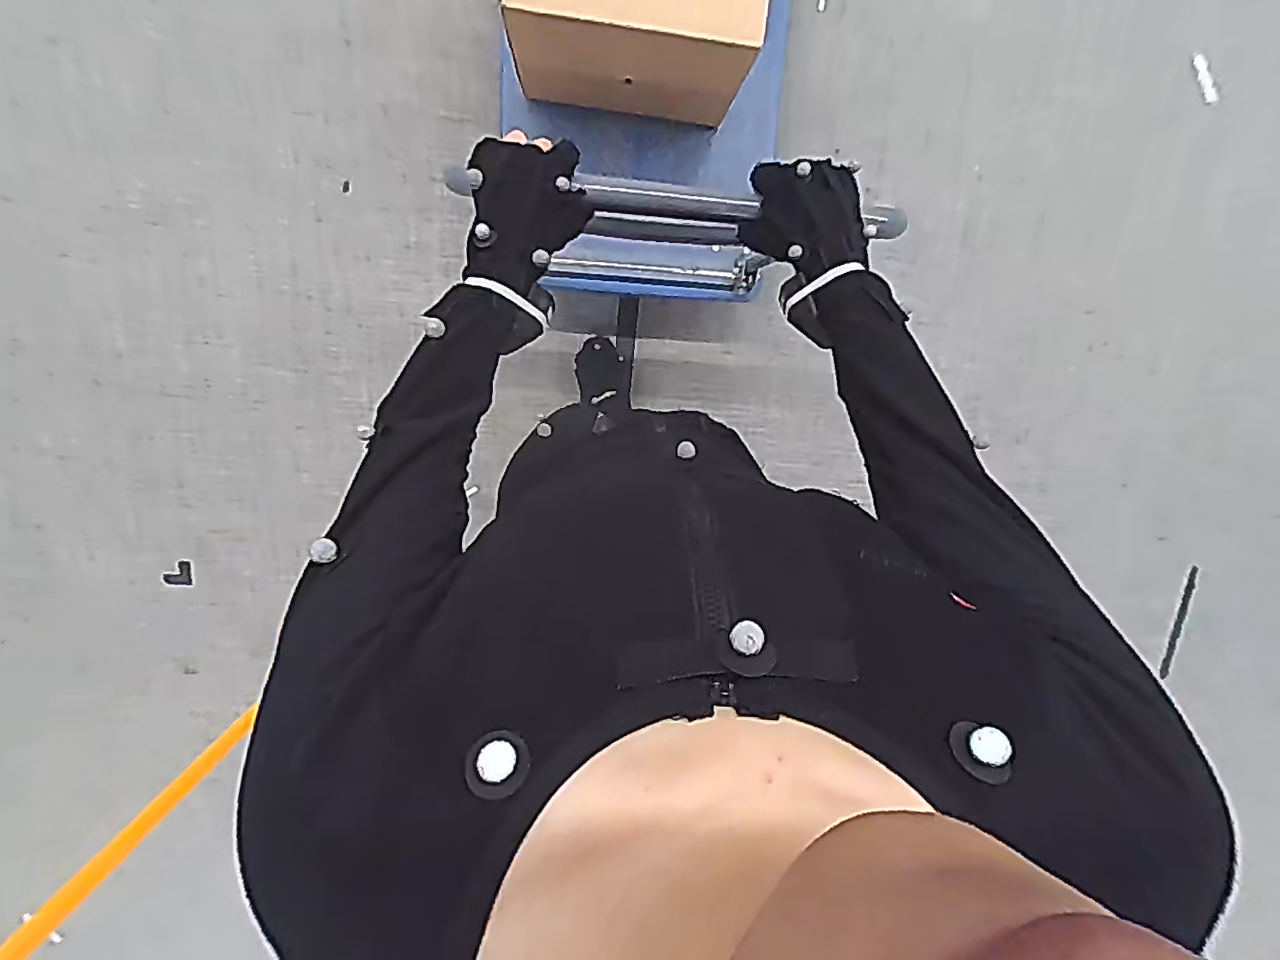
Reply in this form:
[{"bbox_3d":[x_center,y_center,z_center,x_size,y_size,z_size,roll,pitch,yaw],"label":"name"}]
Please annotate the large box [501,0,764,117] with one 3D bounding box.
[{"bbox_3d":[-0.008,-0.877,0.934,0.408,0.320,0.320,4,103,-5],"label":"large box"}]
